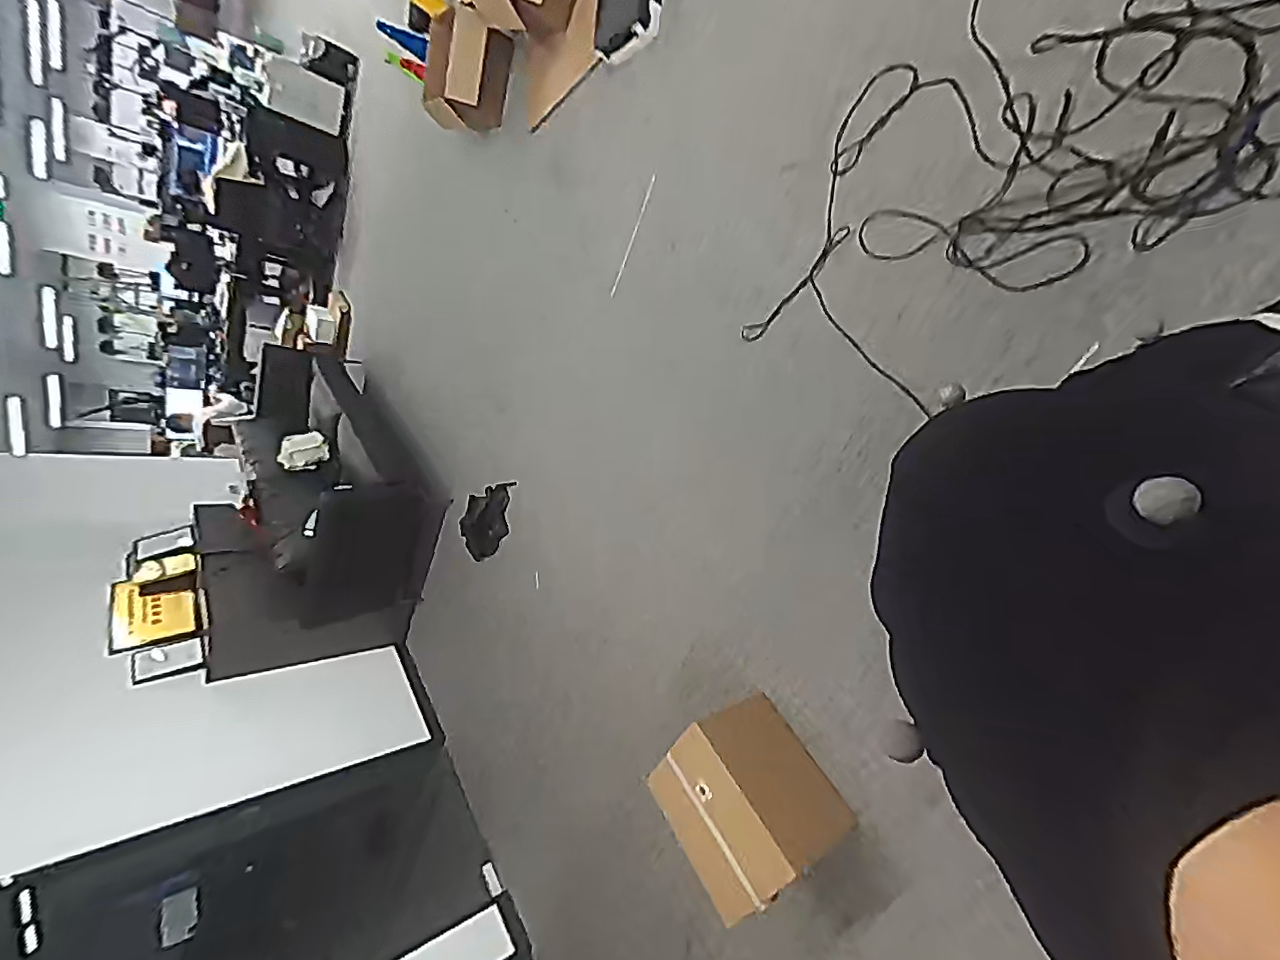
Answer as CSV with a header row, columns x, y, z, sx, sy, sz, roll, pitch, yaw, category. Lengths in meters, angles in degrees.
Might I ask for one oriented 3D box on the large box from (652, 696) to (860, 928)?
x,y,z,sx,sy,sz,roll,pitch,yaw,category
0.311,0.891,1.502,0.408,0.320,0.320,51,124,36,large box
